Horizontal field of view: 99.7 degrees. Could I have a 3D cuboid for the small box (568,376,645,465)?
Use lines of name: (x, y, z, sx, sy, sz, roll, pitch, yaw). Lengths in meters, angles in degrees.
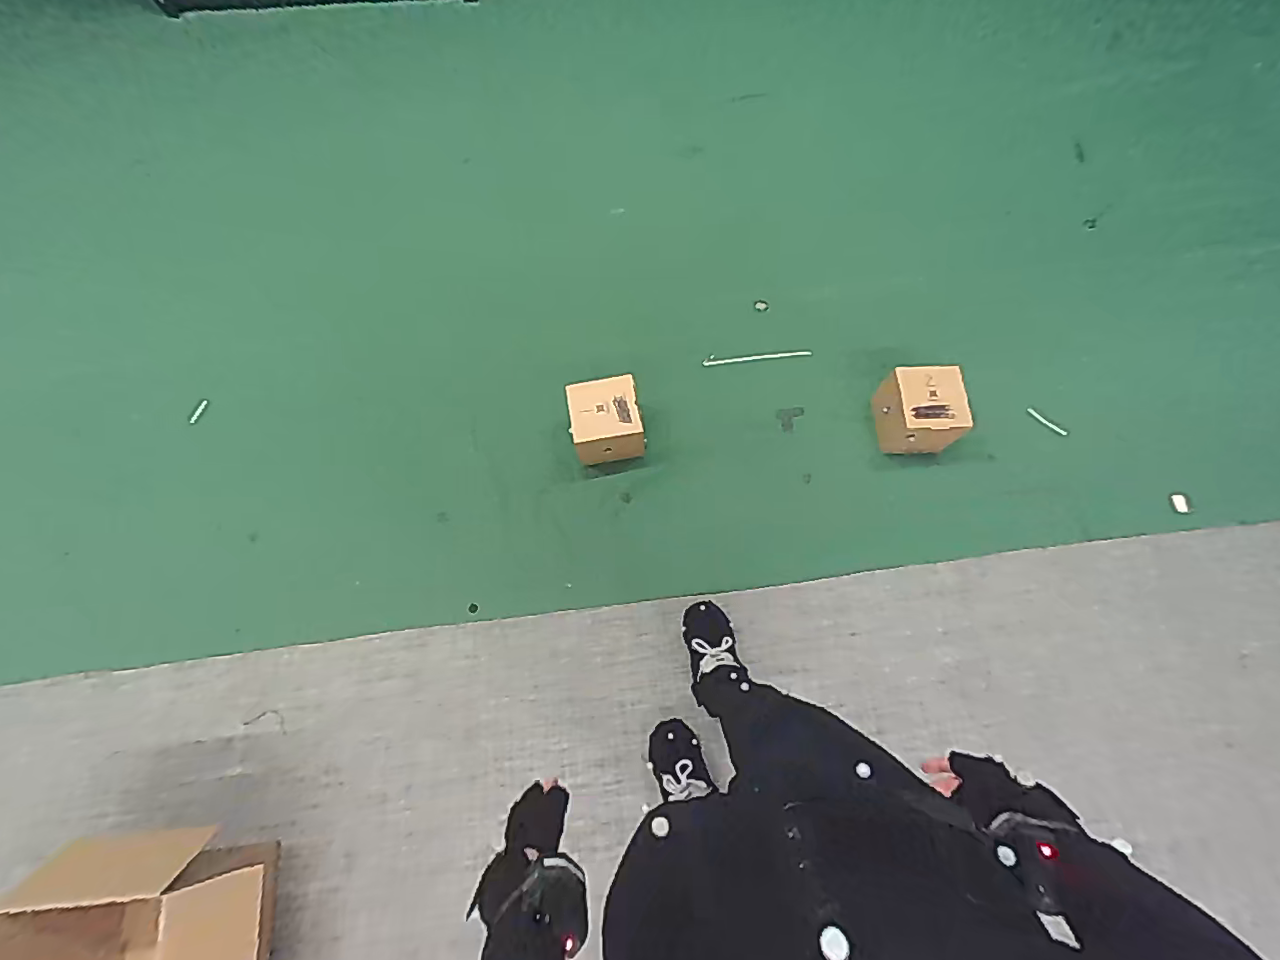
small box: (-0.085, -0.151, 1.428, 0.179, 0.176, 0.168, -10, 71, -1)
